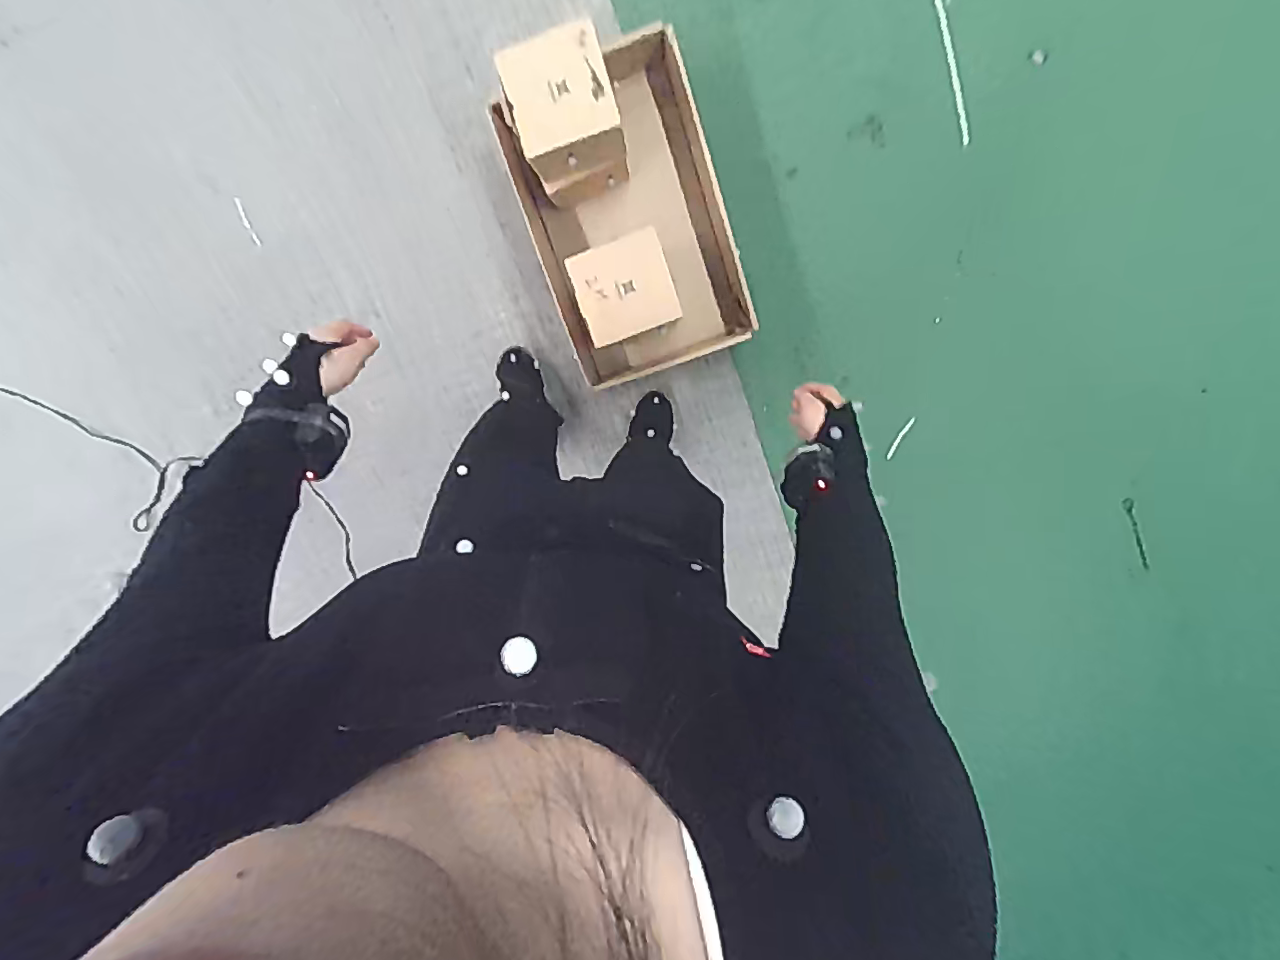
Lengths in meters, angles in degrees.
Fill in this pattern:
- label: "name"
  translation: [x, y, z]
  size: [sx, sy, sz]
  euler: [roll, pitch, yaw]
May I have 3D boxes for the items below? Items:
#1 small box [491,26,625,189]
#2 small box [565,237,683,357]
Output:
- label: "small box"
  translation: [-0.136, -0.651, 0.972]
  size: [0.179, 0.176, 0.168]
  euler: [-16, 104, 7]
- label: "small box"
  translation: [-0.026, -0.348, 1.048]
  size: [0.179, 0.176, 0.168]
  euler: [-18, 102, 8]
